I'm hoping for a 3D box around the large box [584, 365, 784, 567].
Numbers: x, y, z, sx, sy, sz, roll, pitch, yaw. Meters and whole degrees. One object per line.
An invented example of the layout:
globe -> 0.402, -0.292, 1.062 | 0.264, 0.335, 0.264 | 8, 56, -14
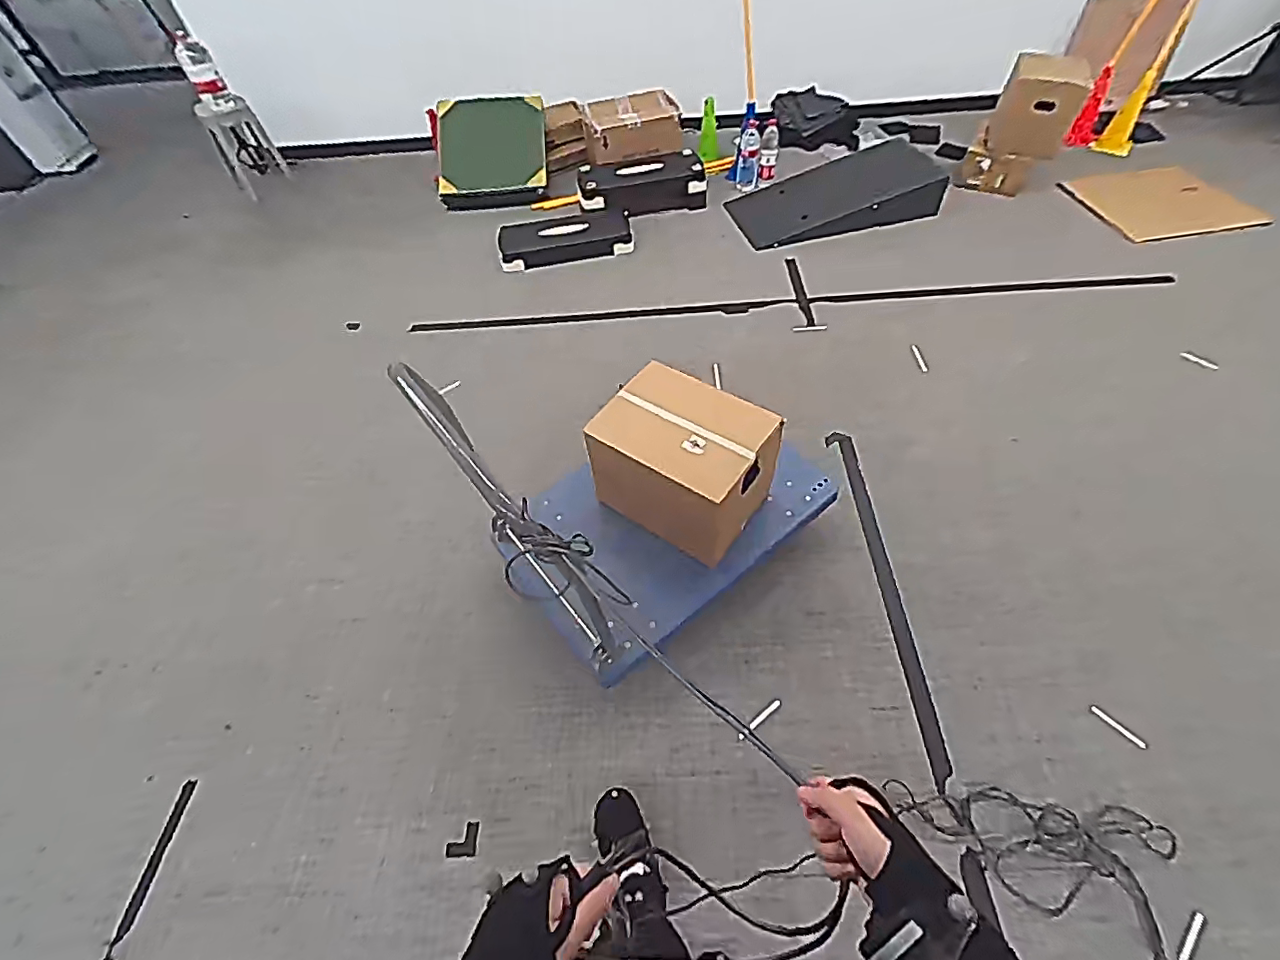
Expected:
large box -> 0.112, -0.040, 1.450 | 0.408, 0.320, 0.320 | 29, 61, 22
